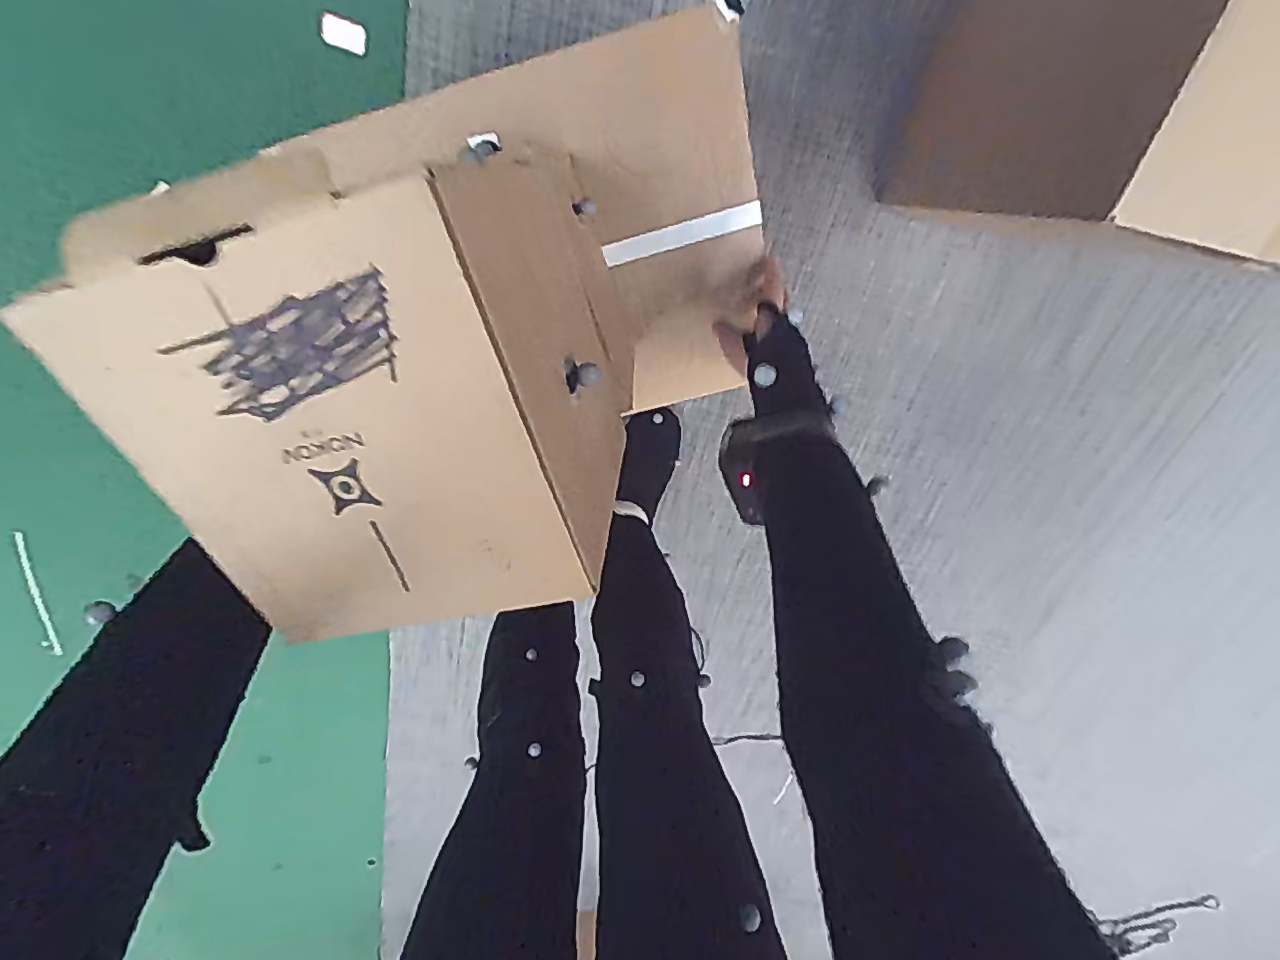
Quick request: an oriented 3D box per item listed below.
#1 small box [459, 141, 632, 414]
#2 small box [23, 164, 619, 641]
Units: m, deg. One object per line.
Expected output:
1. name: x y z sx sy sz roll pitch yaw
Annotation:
1. small box: -0.111 -0.137 0.428 0.168 0.176 0.179 -17 118 9
2. small box: -0.116 -0.047 0.286 0.168 0.176 0.179 -11 119 11
